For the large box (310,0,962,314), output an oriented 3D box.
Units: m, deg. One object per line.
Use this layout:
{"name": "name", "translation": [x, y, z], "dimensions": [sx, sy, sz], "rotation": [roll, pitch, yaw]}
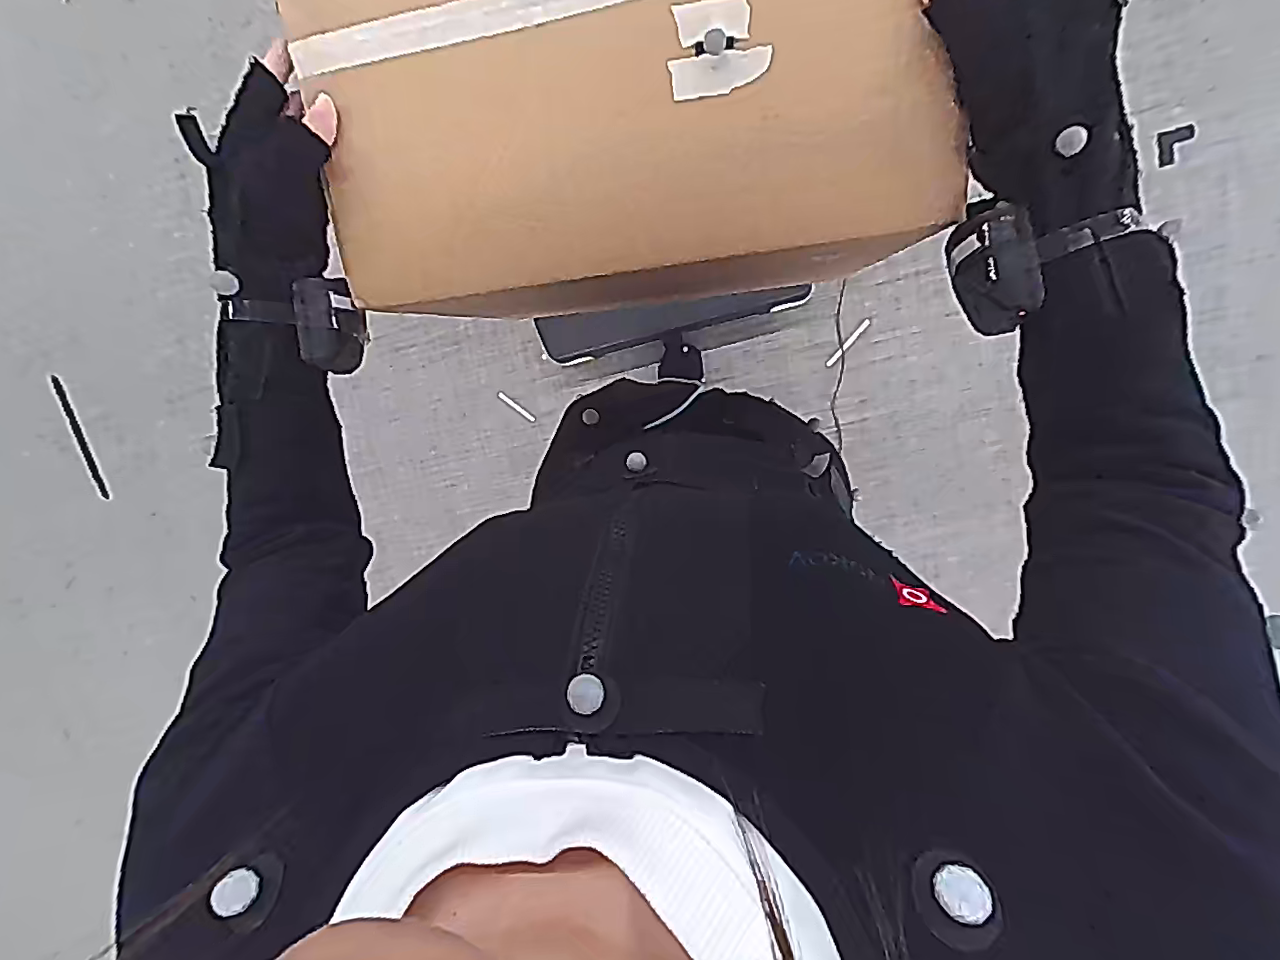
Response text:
{"name": "large box", "translation": [0.002, -0.336, 0.471], "dimensions": [0.408, 0.320, 0.320], "rotation": [-5, 105, 9]}
